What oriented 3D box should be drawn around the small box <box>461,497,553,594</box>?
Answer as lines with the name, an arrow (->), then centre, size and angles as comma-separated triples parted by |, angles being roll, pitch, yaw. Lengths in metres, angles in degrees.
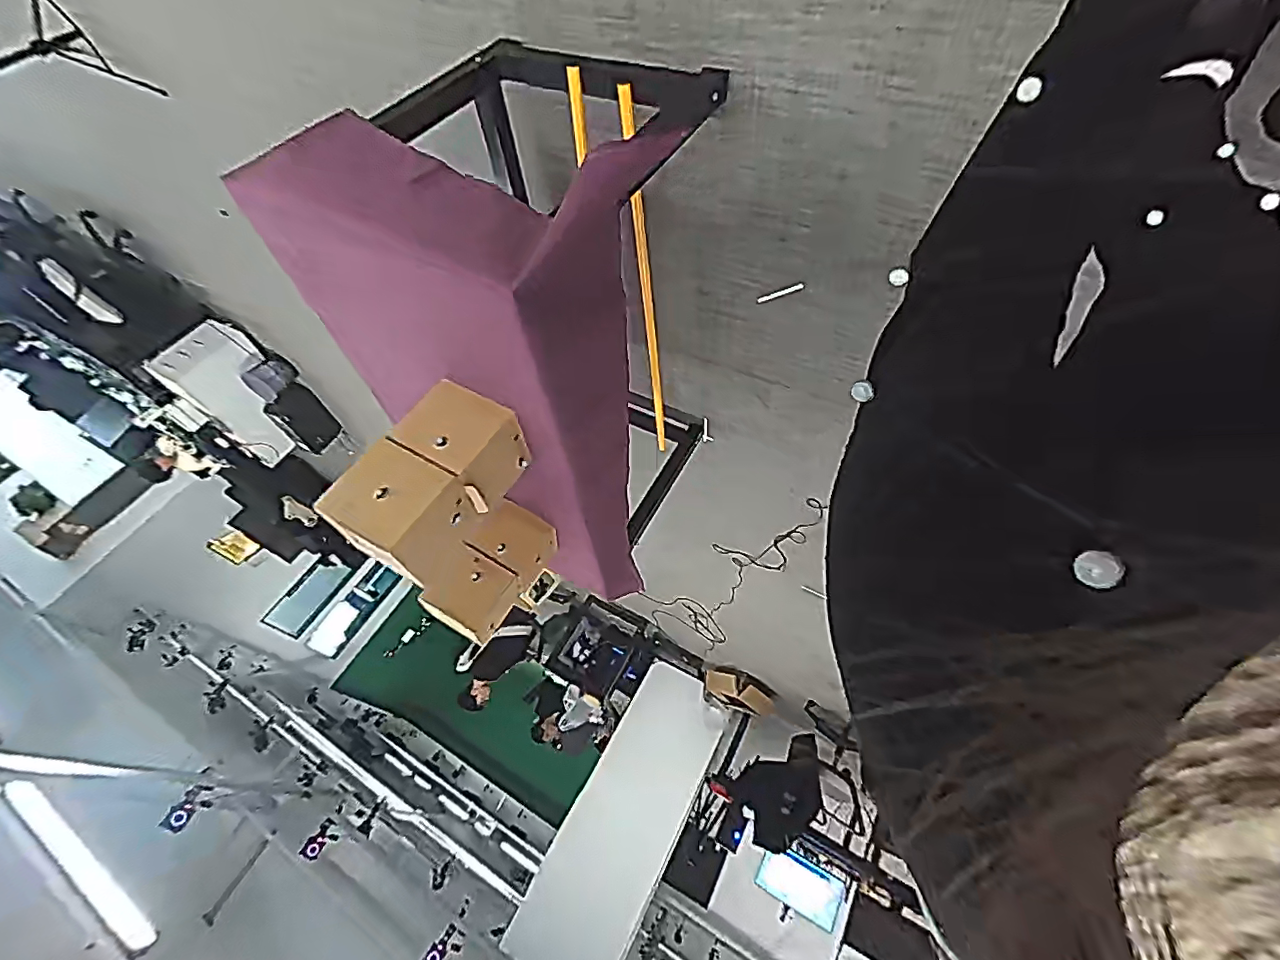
small box -> -0.346, 0.173, 1.452 | 0.179, 0.176, 0.168 | 29, 153, 9

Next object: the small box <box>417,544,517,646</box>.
small box -> -0.428, 0.292, 1.375 | 0.168, 0.176, 0.179 | 29, 152, 7

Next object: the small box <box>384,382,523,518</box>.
small box -> -0.346, -0.061, 1.051 | 0.179, 0.176, 0.168 | 26, 153, 16
